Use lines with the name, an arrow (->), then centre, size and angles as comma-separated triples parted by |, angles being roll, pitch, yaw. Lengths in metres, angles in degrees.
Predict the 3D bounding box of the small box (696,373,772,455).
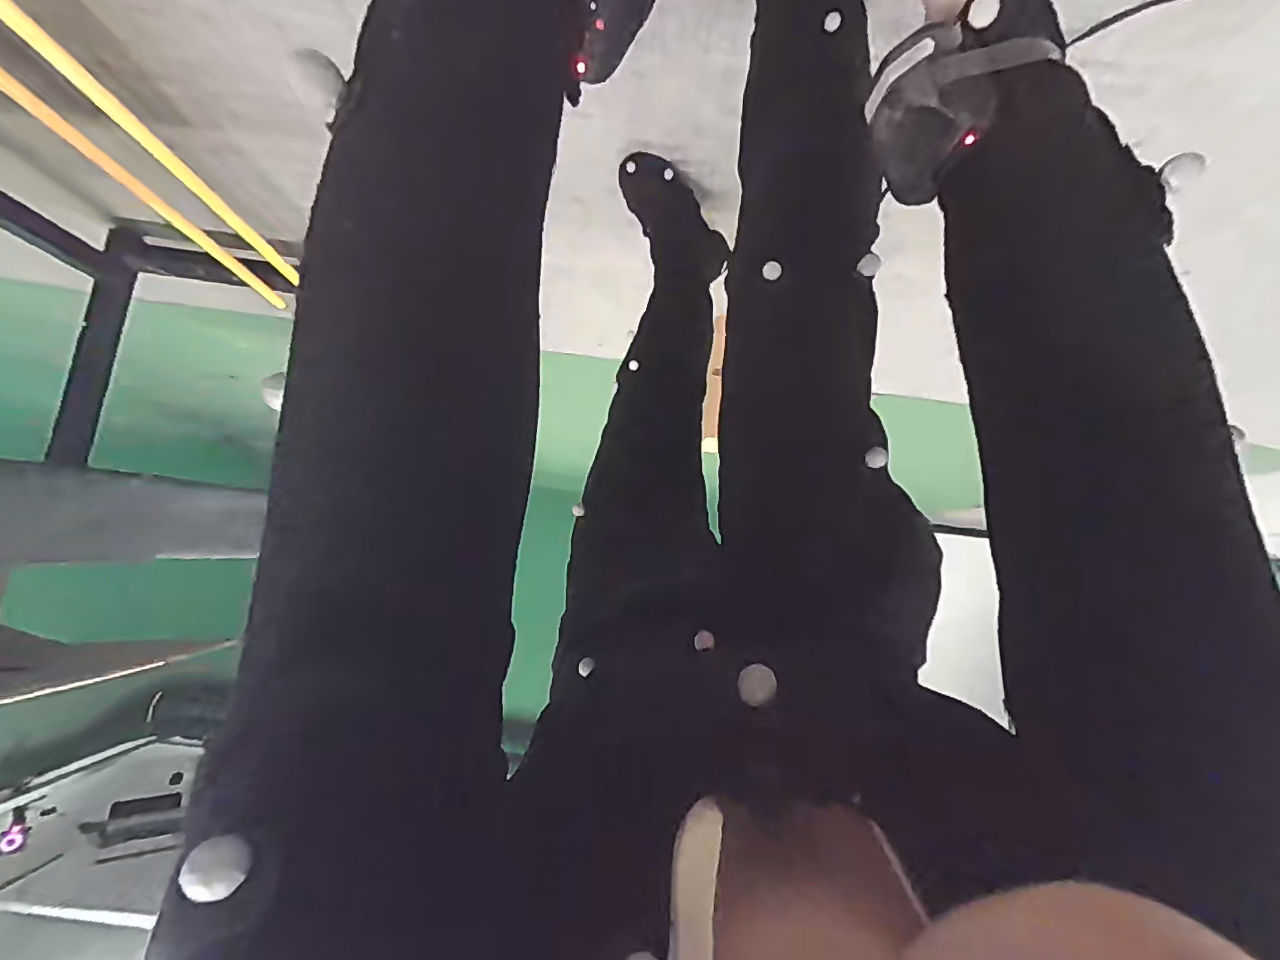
small box -> 0.248, -0.171, 1.437 | 0.168, 0.176, 0.179 | 6, 171, -1

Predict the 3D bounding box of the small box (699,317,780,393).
small box -> 0.270, -0.329, 1.475 | 0.179, 0.176, 0.168 | 7, 172, -4
